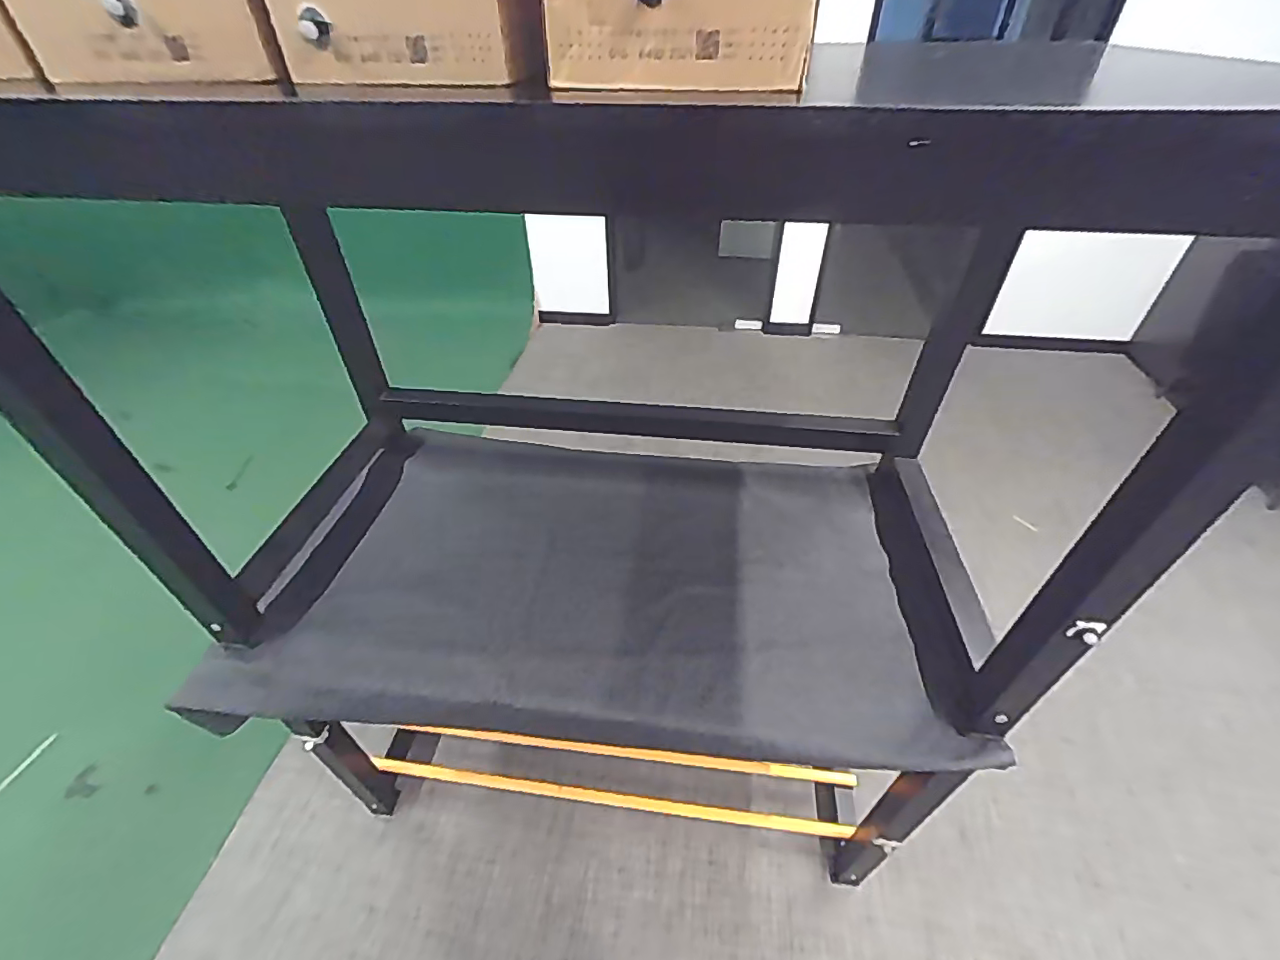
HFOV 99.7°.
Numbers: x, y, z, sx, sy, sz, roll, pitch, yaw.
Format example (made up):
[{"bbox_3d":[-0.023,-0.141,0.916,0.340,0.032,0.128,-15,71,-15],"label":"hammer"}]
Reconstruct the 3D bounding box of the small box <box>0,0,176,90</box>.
[{"bbox_3d":[-0.546,-0.428,0.442,0.168,0.176,0.179,1,40,0],"label":"small box"}]

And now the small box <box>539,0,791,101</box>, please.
[{"bbox_3d":[0.023,-0.379,0.378,0.168,0.176,0.179,5,41,6],"label":"small box"}]
